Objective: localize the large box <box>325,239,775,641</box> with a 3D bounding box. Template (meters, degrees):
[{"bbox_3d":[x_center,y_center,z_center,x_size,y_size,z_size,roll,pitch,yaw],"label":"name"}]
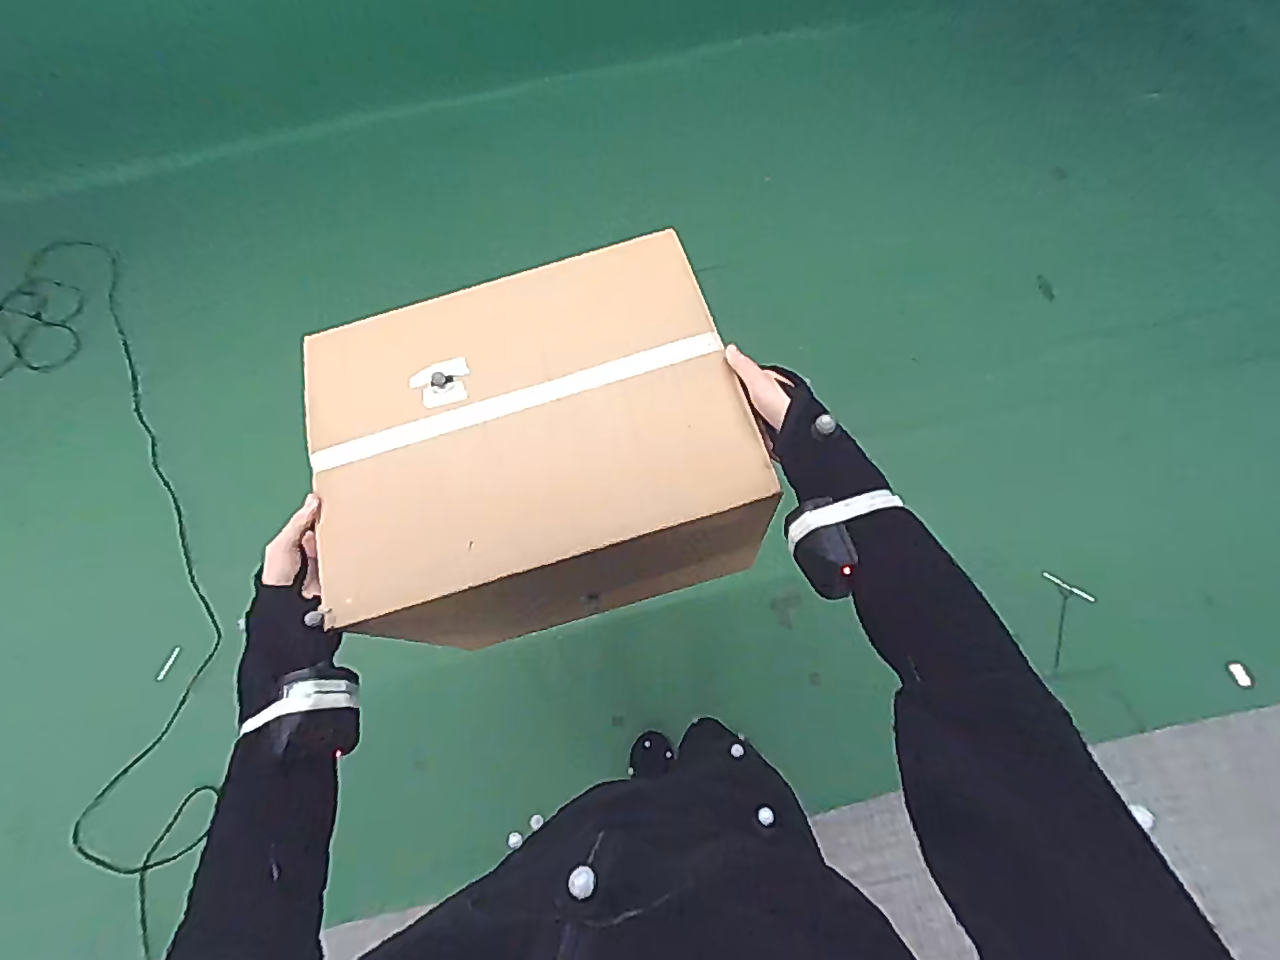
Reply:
[{"bbox_3d":[-0.092,-0.016,0.666,0.408,0.320,0.320,-17,68,1],"label":"large box"}]
